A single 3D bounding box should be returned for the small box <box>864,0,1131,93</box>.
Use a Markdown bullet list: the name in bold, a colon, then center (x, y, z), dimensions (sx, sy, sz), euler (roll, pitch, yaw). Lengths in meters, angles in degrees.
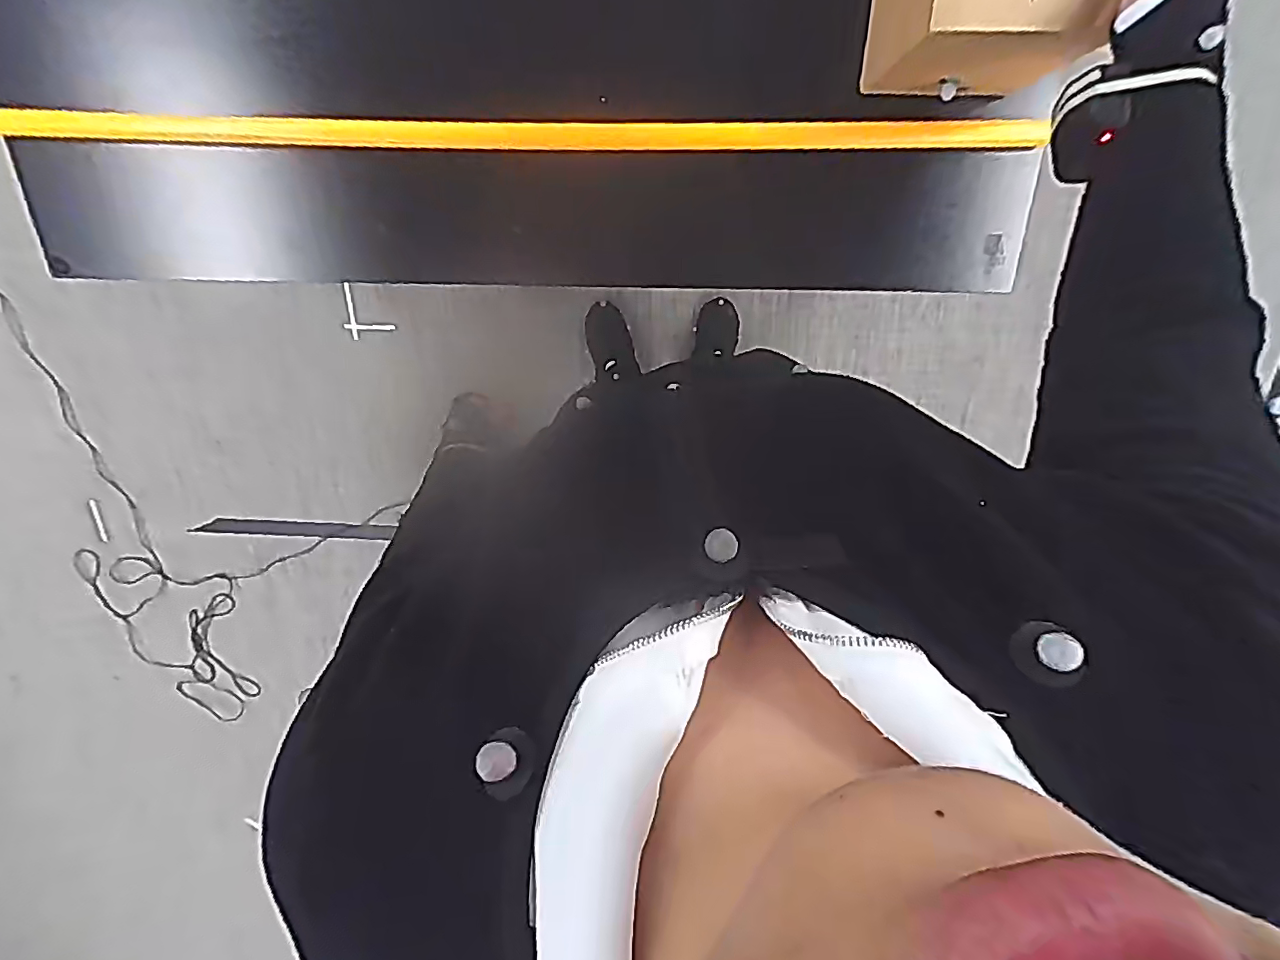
- **small box**: center (0.325, -0.488, 0.495), dimensions (0.168, 0.176, 0.179), euler (2, 111, 1)
